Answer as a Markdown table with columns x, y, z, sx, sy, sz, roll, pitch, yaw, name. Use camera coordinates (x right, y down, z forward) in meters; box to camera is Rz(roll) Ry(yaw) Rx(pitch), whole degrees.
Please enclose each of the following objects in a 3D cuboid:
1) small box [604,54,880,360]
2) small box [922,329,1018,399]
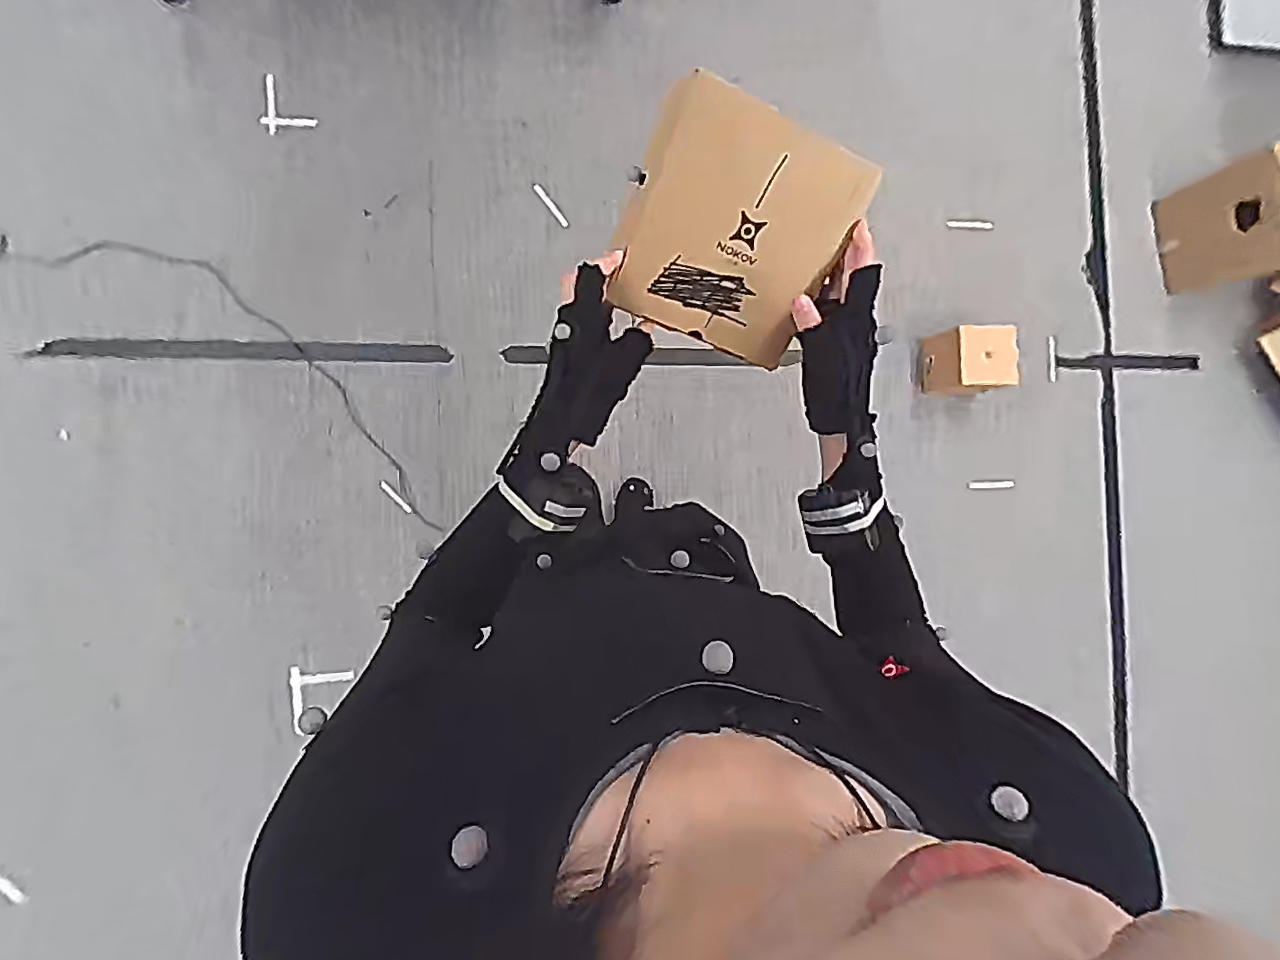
| x | y | z | sx | sy | sz | roll | pitch | yaw | name |
| --- | --- | --- | --- | --- | --- | --- | --- | --- | --- |
| 0.072 | -0.242 | 0.497 | 0.168 | 0.176 | 0.179 | 17 | 119 | -17 | small box |
| 0.951 | -0.331 | 1.568 | 0.179 | 0.176 | 0.168 | -2 | 89 | -6 | small box |
